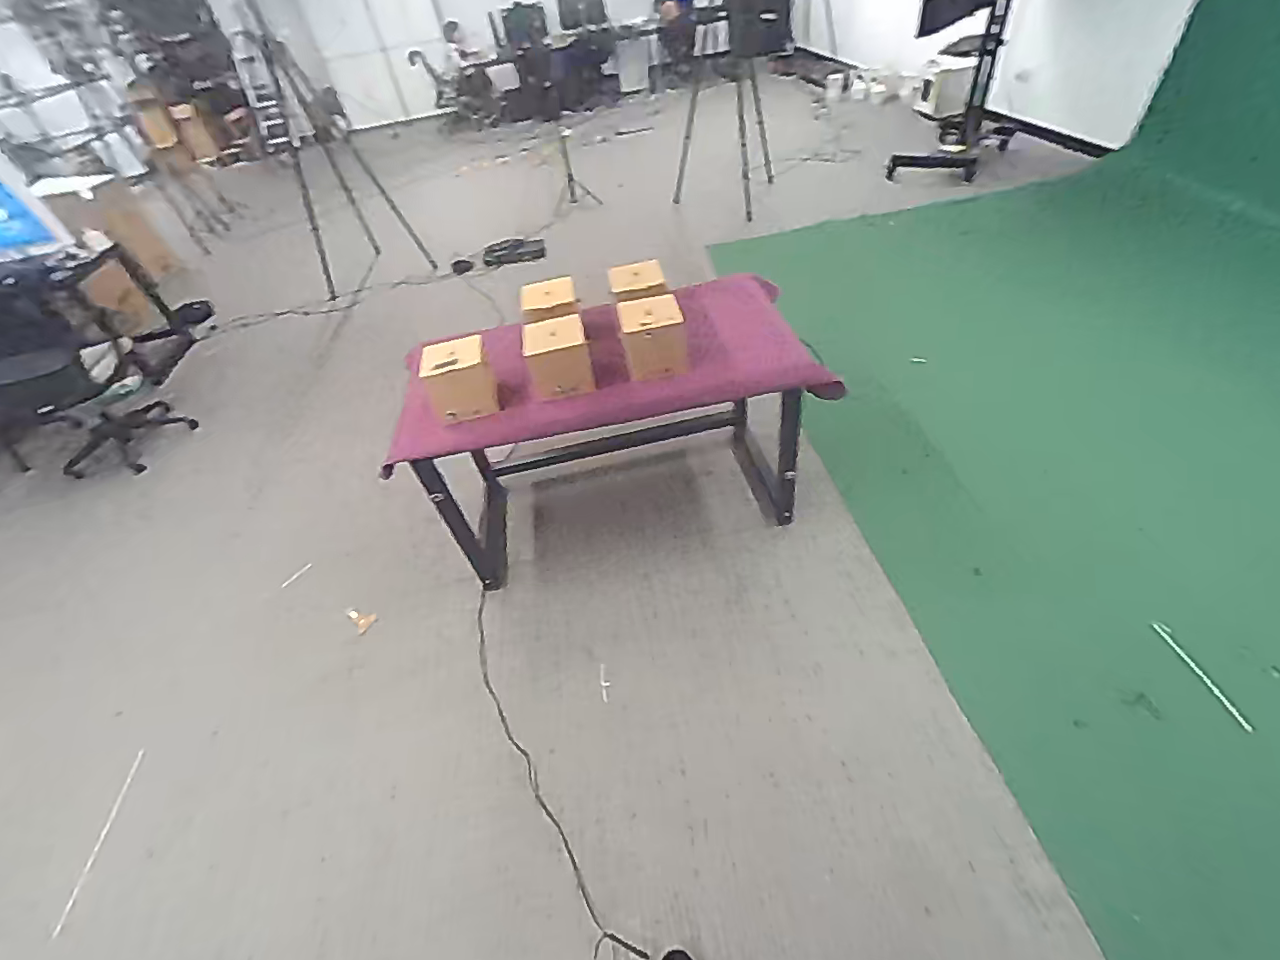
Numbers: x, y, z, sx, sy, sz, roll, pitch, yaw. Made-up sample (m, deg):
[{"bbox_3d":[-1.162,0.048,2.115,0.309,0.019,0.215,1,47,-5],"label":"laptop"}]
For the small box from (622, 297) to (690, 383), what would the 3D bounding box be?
[{"bbox_3d":[0.047,-0.408,1.581,0.168,0.176,0.179,-12,44,2],"label":"small box"}]

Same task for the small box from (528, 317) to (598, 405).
[{"bbox_3d":[-0.223,-0.346,1.581,0.168,0.176,0.179,-13,45,1],"label":"small box"}]

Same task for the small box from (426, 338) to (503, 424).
[{"bbox_3d":[-0.502,-0.281,1.571,0.168,0.176,0.179,-14,43,-3],"label":"small box"}]

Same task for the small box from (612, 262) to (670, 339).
[{"bbox_3d":[0.010,-0.579,1.757,0.168,0.176,0.179,-12,45,1],"label":"small box"}]
